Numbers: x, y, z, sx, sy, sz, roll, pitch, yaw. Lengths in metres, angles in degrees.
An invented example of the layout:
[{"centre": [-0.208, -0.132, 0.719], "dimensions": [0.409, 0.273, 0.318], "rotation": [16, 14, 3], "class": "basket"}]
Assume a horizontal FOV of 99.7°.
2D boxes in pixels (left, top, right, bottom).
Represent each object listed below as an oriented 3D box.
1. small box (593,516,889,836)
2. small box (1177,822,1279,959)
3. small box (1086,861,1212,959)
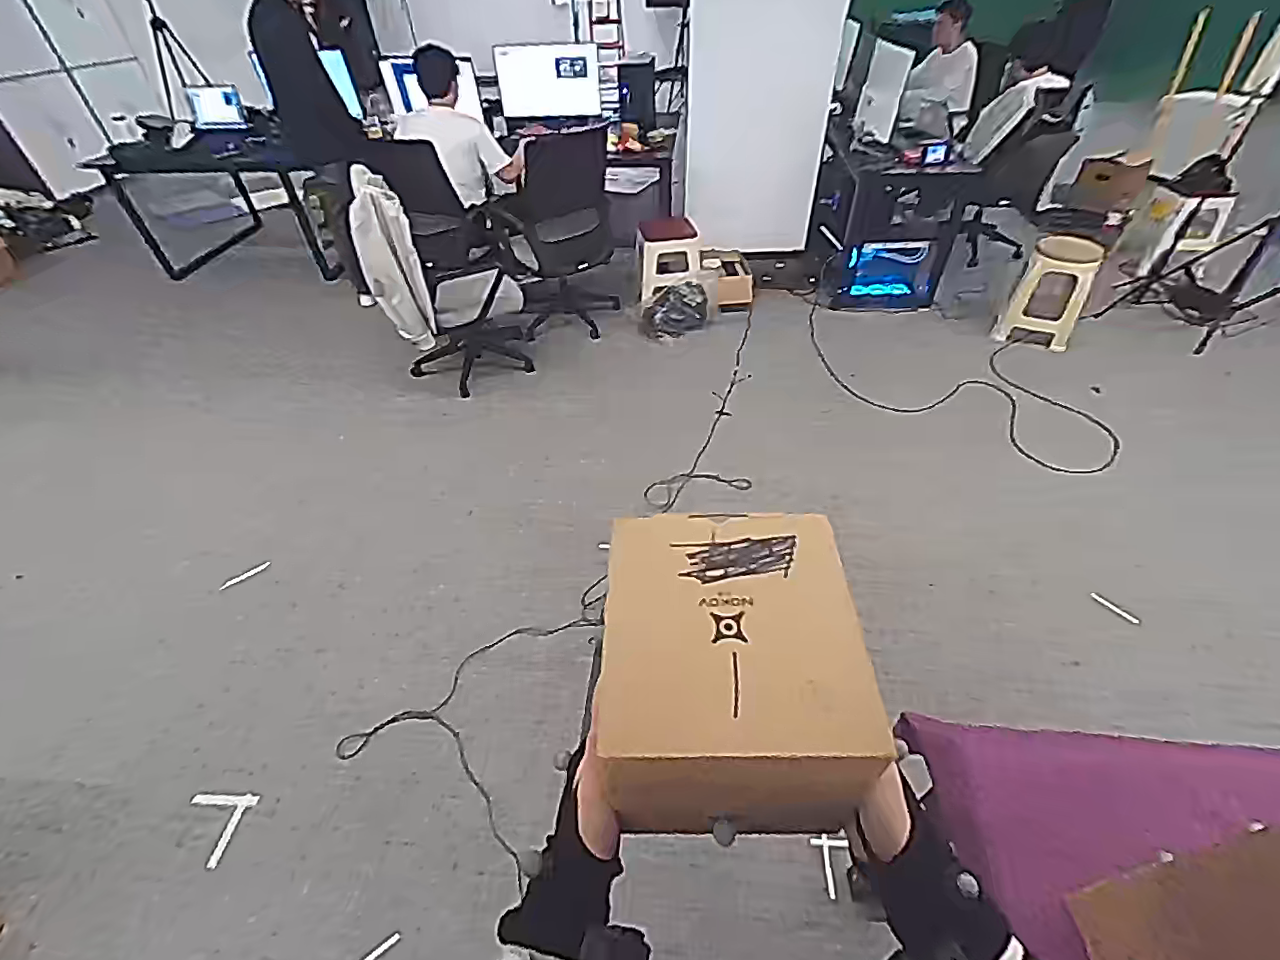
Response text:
[{"centre": [0.060, 0.147, 0.411], "dimensions": [0.168, 0.176, 0.179], "rotation": [-2, 45, 3], "class": "small box"}, {"centre": [0.561, 0.359, 0.391], "dimensions": [0.179, 0.176, 0.168], "rotation": [-1, 45, 0], "class": "small box"}, {"centre": [0.572, 0.475, 0.505], "dimensions": [0.179, 0.176, 0.168], "rotation": [0, 44, 1], "class": "small box"}]
